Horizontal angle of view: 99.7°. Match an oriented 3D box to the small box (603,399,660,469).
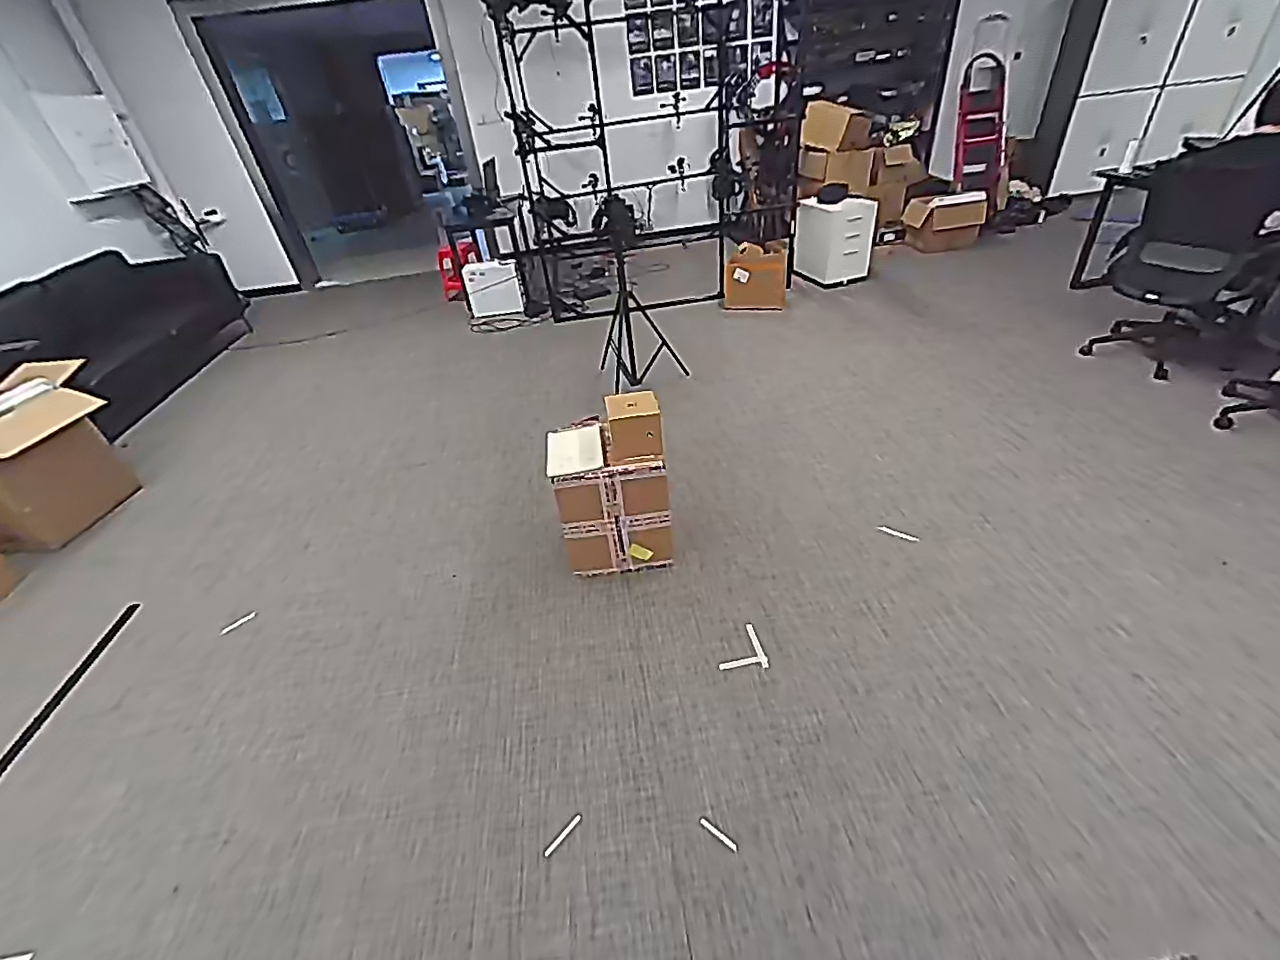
[{"bbox_3d":[-0.028,-0.159,1.876,0.179,0.176,0.168,-9,38,-4],"label":"small box"}]
